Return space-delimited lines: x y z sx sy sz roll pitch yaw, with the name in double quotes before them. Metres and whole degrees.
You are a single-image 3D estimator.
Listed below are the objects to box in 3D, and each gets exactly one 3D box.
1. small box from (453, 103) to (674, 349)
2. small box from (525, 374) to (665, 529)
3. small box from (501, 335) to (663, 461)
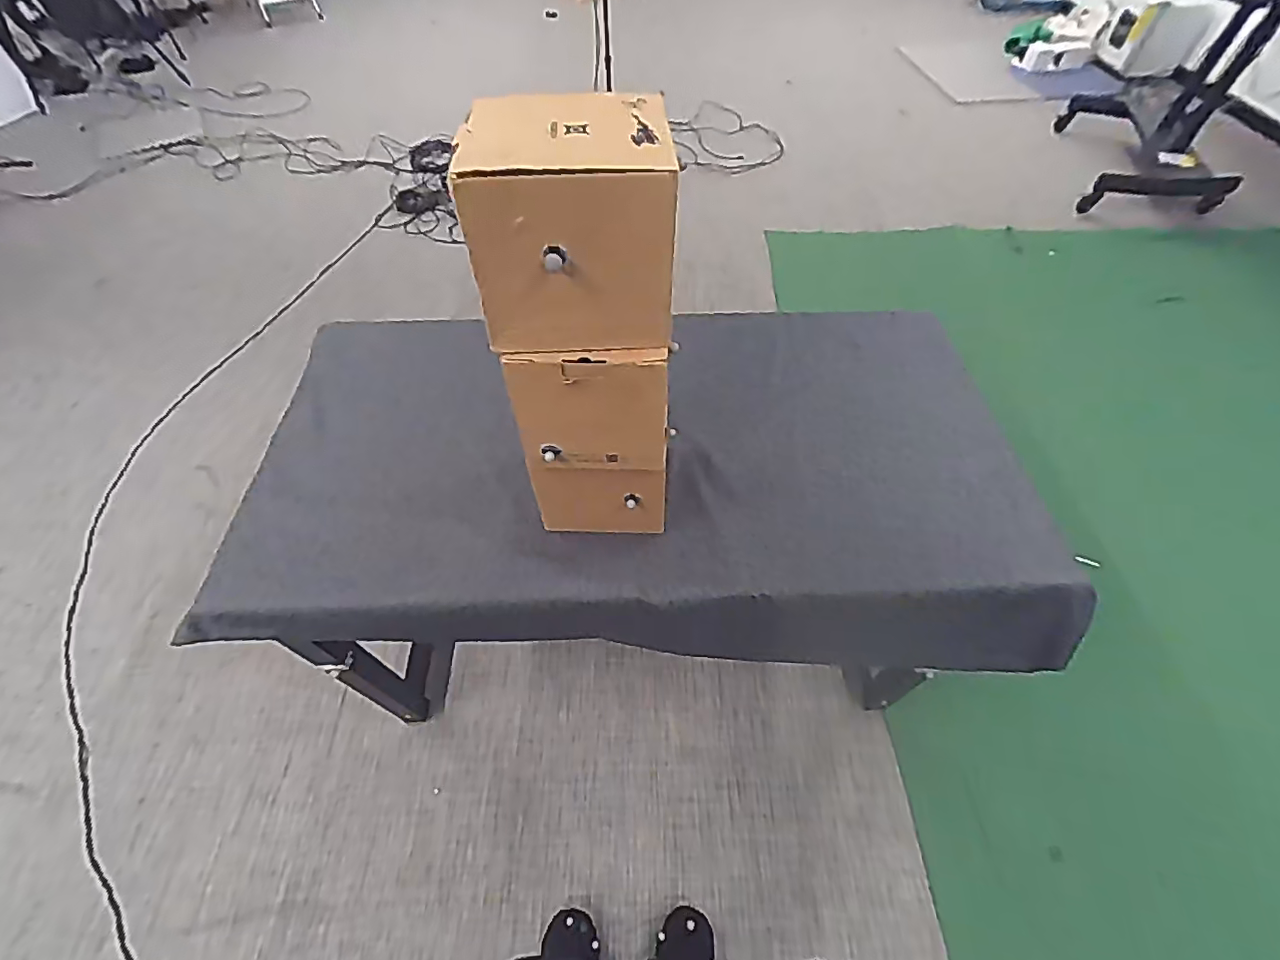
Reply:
"small box" -0.066 -0.244 0.530 0.179 0.176 0.168 -5 51 -4
"small box" -0.054 -0.040 0.783 0.179 0.176 0.168 0 52 3
"small box" -0.057 -0.135 0.649 0.168 0.176 0.179 -1 54 0
